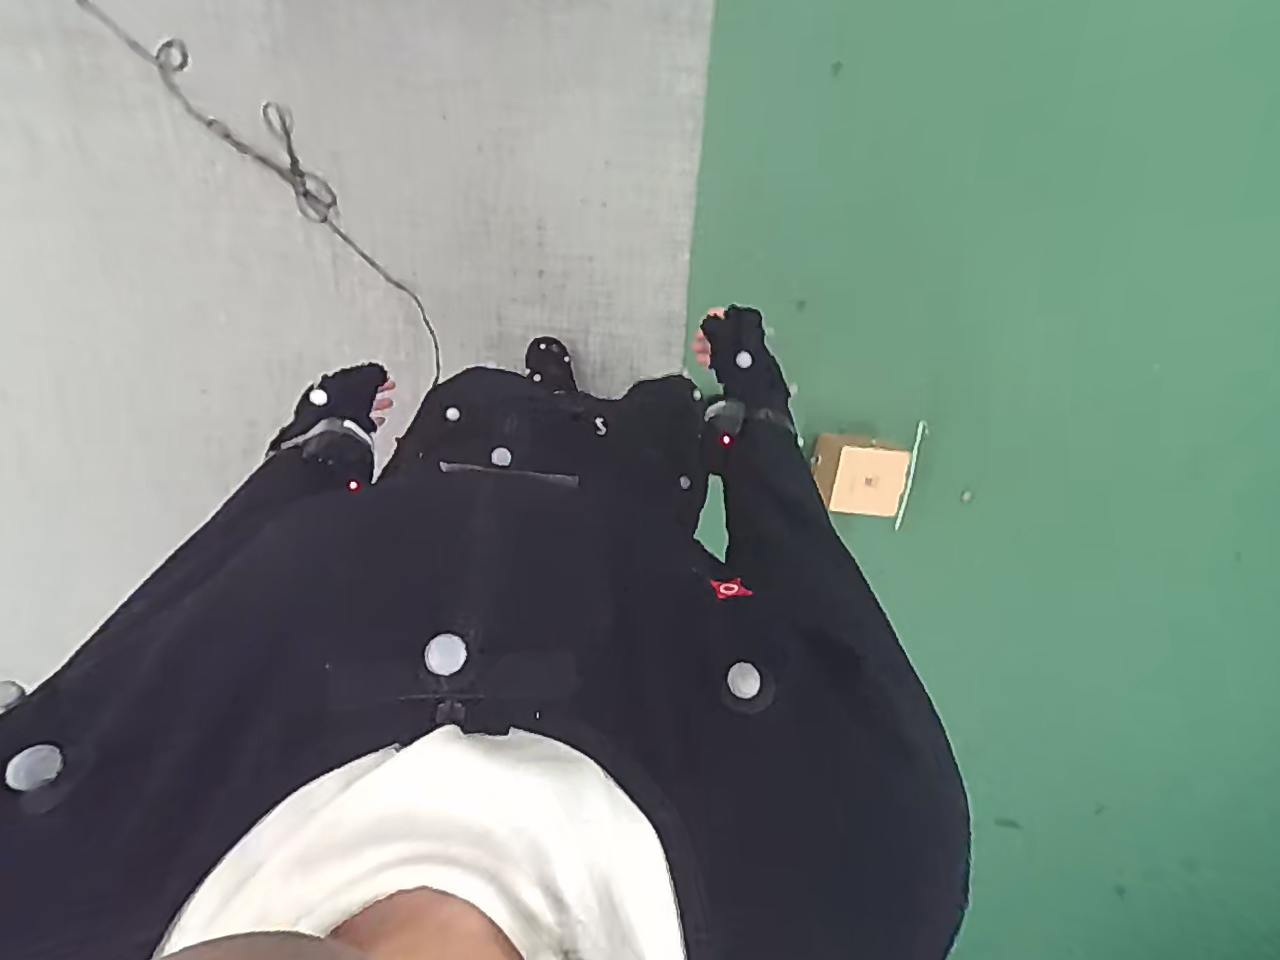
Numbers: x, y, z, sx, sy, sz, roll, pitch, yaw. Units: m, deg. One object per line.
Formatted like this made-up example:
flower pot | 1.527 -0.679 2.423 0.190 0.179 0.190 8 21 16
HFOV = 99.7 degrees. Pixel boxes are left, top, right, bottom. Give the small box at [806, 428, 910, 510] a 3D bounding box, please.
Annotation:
small box | 0.554 -0.033 1.395 0.179 0.176 0.168 6 107 -3
